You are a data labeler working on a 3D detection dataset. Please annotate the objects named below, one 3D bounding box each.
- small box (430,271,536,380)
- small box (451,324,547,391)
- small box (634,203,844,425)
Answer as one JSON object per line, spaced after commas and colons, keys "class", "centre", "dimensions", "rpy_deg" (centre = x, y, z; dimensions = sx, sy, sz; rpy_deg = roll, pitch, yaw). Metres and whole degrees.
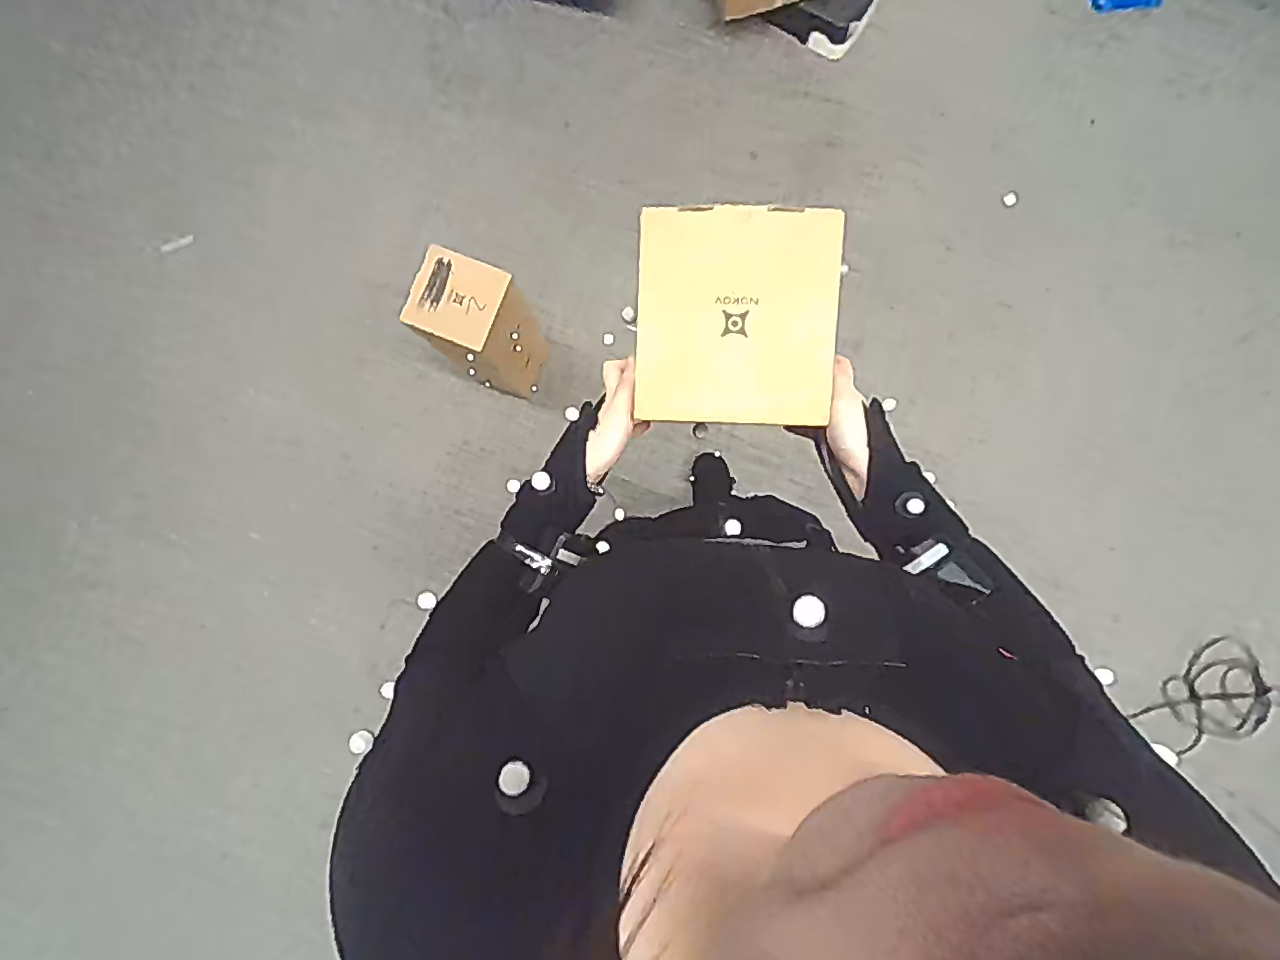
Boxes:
{"class": "small box", "centre": [-0.361, -0.354, 1.279], "dimensions": [0.168, 0.176, 0.179], "rpy_deg": [22, 88, 1]}
{"class": "small box", "centre": [-0.366, -0.350, 1.443], "dimensions": [0.179, 0.176, 0.168], "rpy_deg": [22, 89, 2]}
{"class": "small box", "centre": [0.085, -0.145, 0.522], "dimensions": [0.168, 0.176, 0.179], "rpy_deg": [1, 96, 4]}
